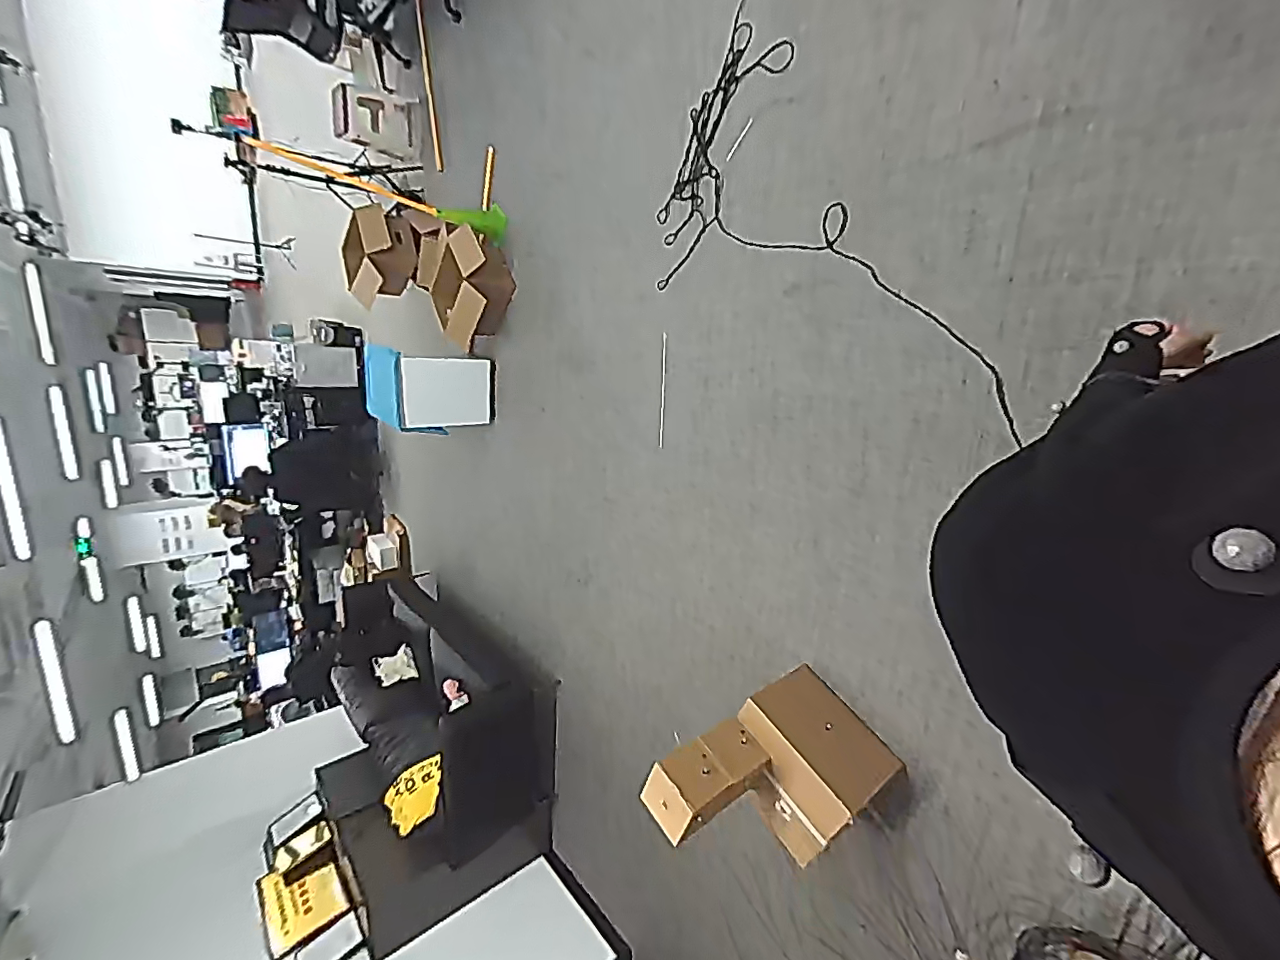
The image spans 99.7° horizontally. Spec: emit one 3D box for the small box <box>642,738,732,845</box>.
[{"bbox_3d":[0.136,0.887,1.552,0.168,0.176,0.179,41,126,38],"label":"small box"}]
